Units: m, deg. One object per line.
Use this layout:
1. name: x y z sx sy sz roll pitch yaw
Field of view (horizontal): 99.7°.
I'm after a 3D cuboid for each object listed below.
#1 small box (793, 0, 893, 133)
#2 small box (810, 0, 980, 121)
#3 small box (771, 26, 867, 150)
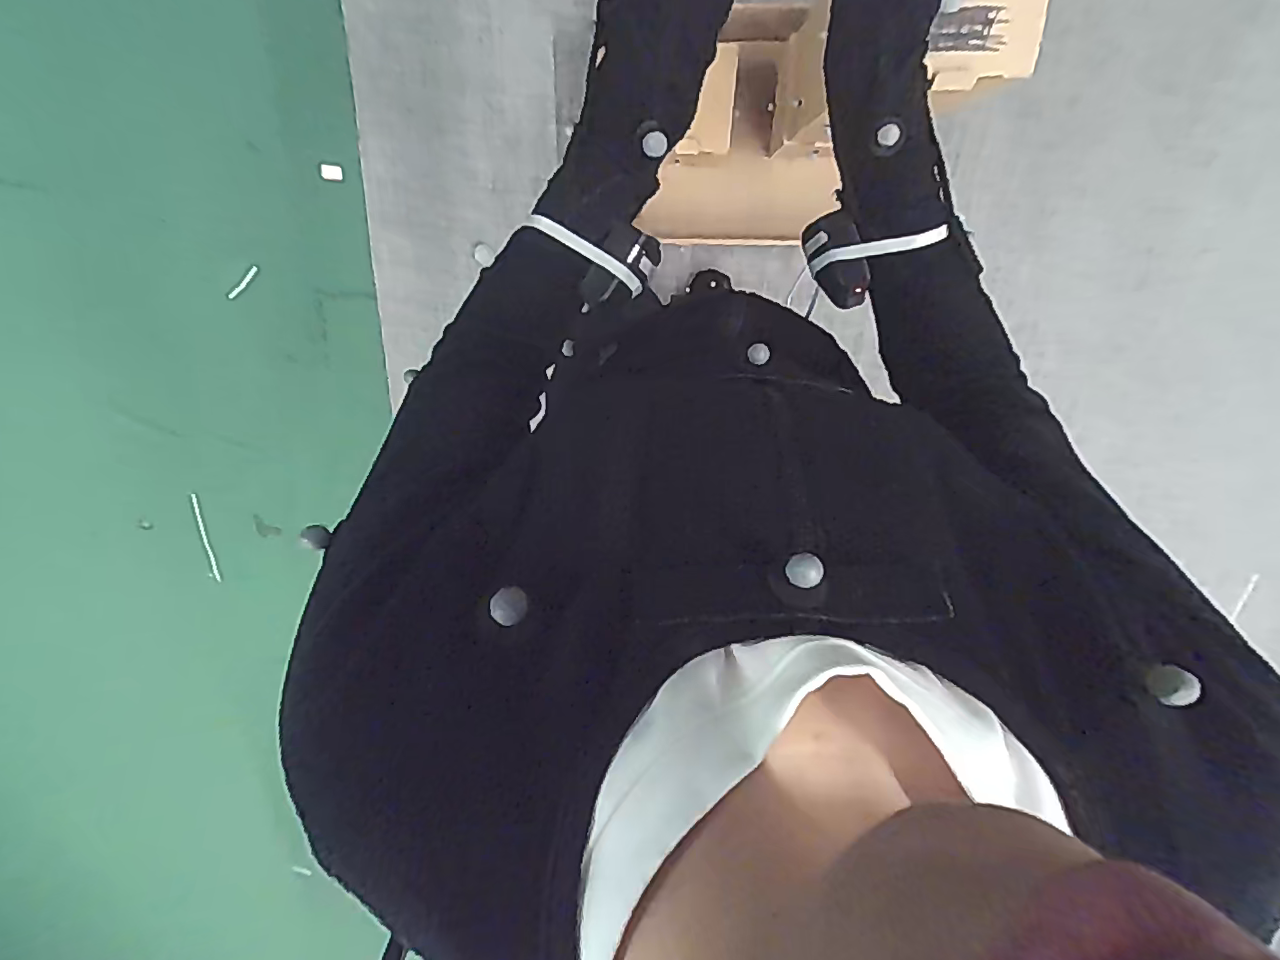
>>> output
1. small box: 0.358 -0.689 0.895 0.168 0.176 0.179 2 114 2
2. small box: 0.349 -0.624 0.764 0.168 0.176 0.179 2 114 1
3. small box: 0.354 -0.761 1.062 0.168 0.176 0.179 -1 113 5
